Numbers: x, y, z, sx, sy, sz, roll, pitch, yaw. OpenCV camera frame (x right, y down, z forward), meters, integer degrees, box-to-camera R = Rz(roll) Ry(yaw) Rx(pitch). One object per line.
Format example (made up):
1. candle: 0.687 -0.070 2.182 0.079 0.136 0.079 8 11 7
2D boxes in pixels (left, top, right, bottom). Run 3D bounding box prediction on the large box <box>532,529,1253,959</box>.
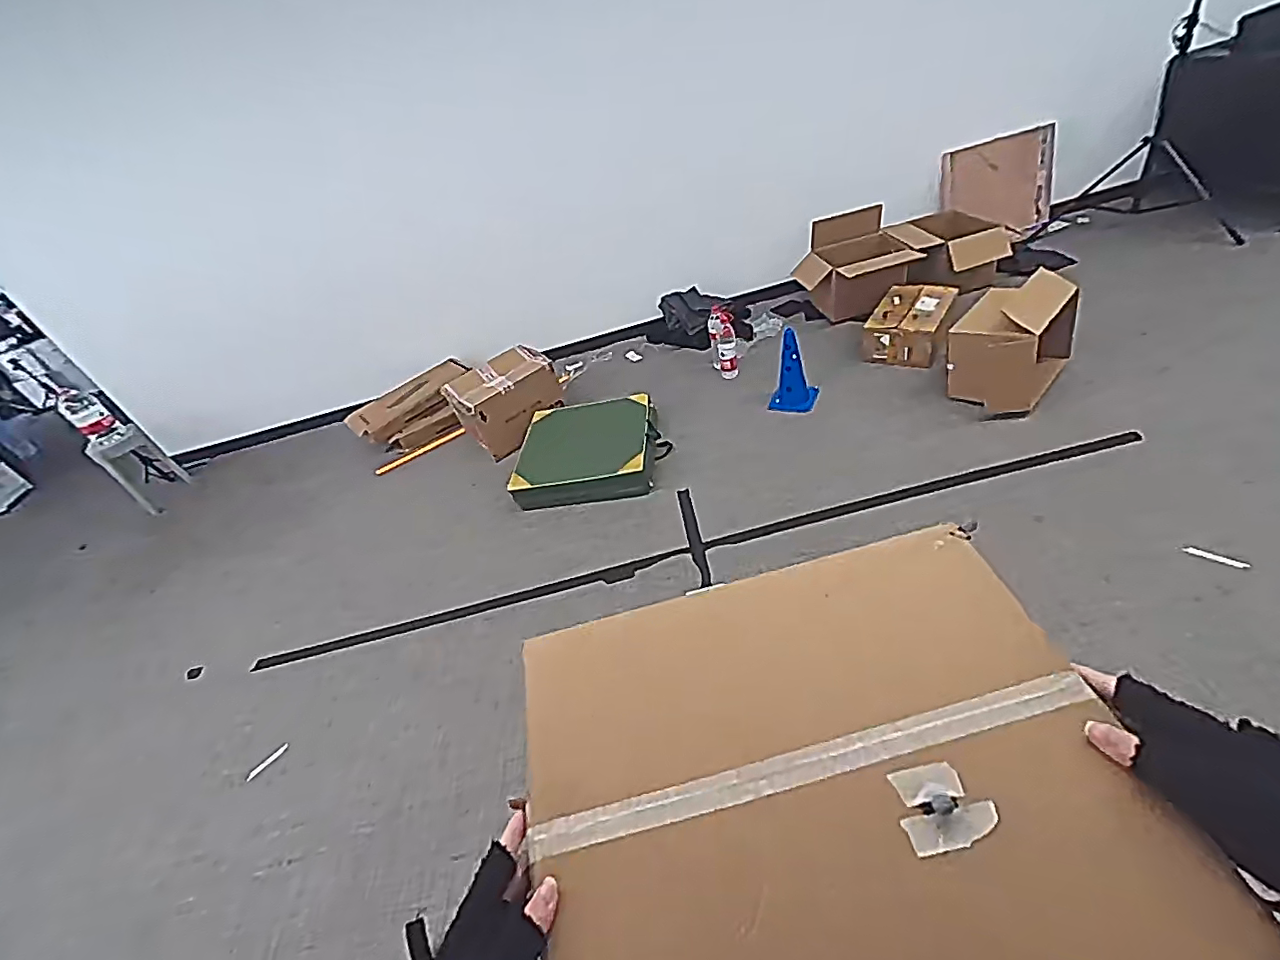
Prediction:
1. large box: 0.147 0.303 0.504 0.408 0.320 0.320 -15 47 -2
